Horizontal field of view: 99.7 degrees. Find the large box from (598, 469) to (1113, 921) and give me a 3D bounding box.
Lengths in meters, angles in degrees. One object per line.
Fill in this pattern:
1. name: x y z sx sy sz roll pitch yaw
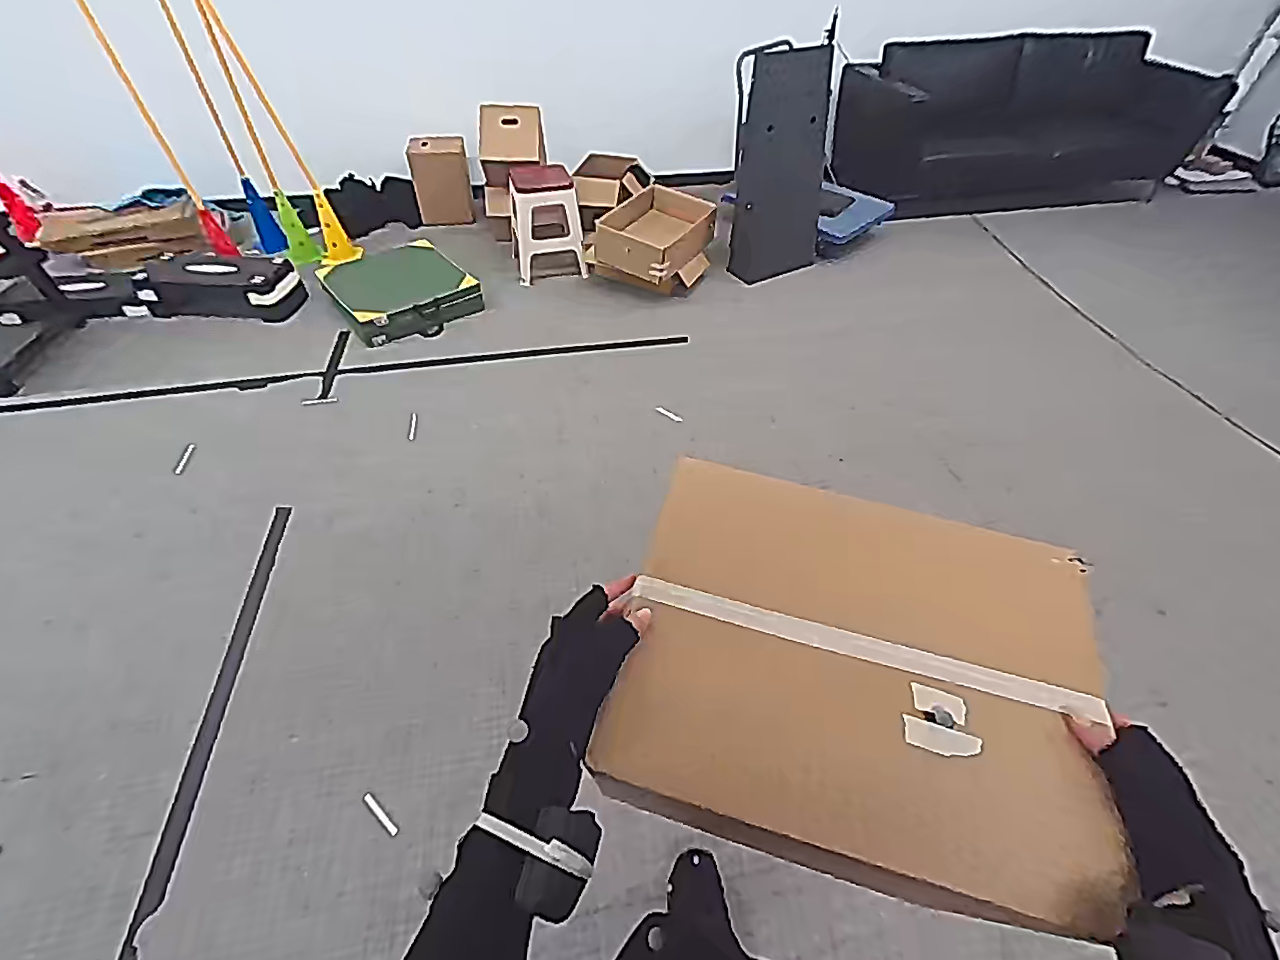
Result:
1. large box: 0.188 0.234 0.619 0.408 0.320 0.320 14 58 8
